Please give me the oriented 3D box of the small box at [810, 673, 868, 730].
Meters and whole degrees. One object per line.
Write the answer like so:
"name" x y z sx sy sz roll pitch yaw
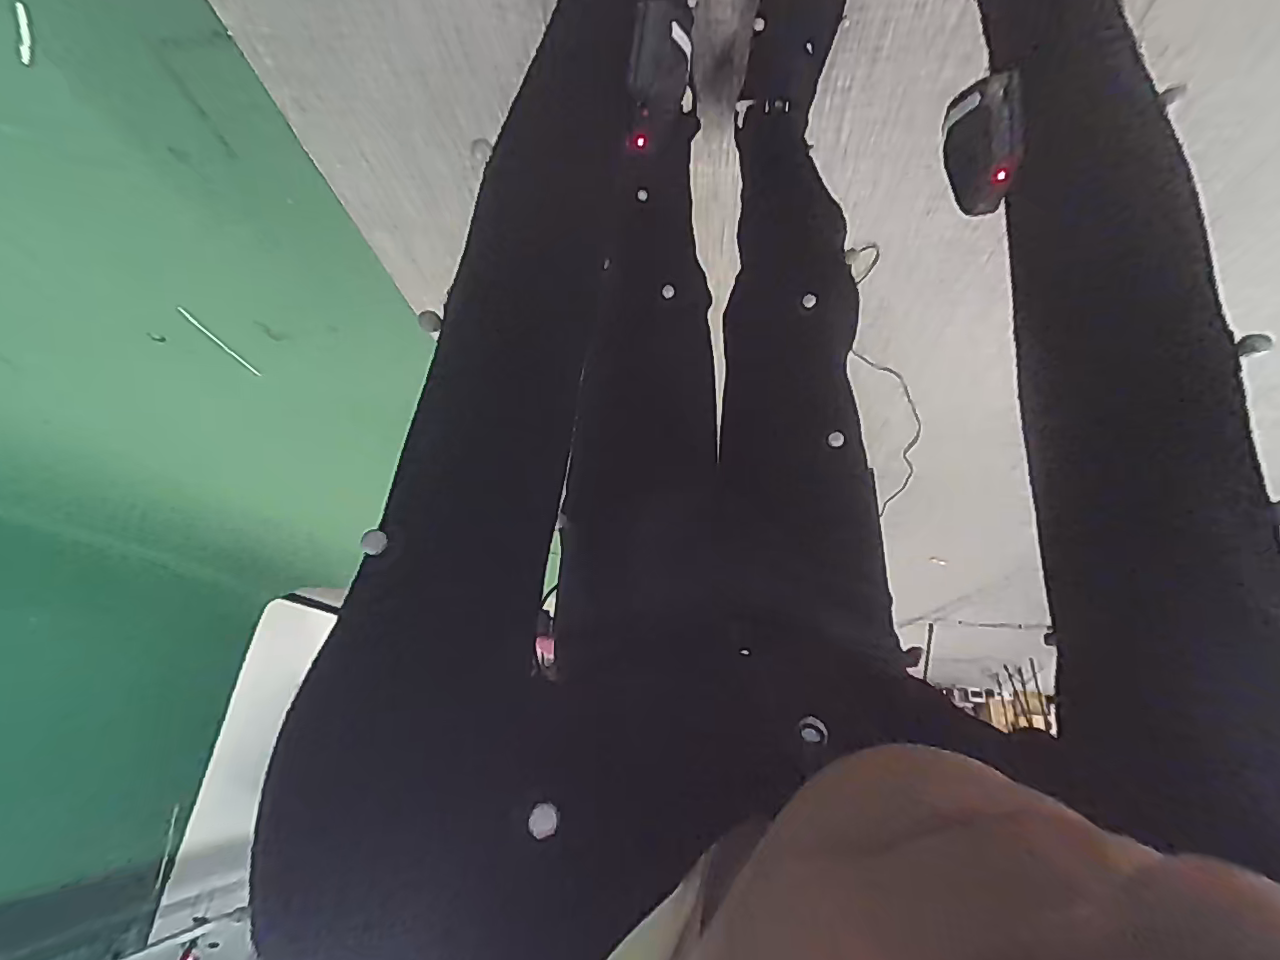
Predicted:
"small box" 0.694 0.782 1.901 0.168 0.176 0.179 -1 154 12

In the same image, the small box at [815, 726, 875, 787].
"small box" 0.689 0.930 1.830 0.168 0.176 0.179 -2 154 12
